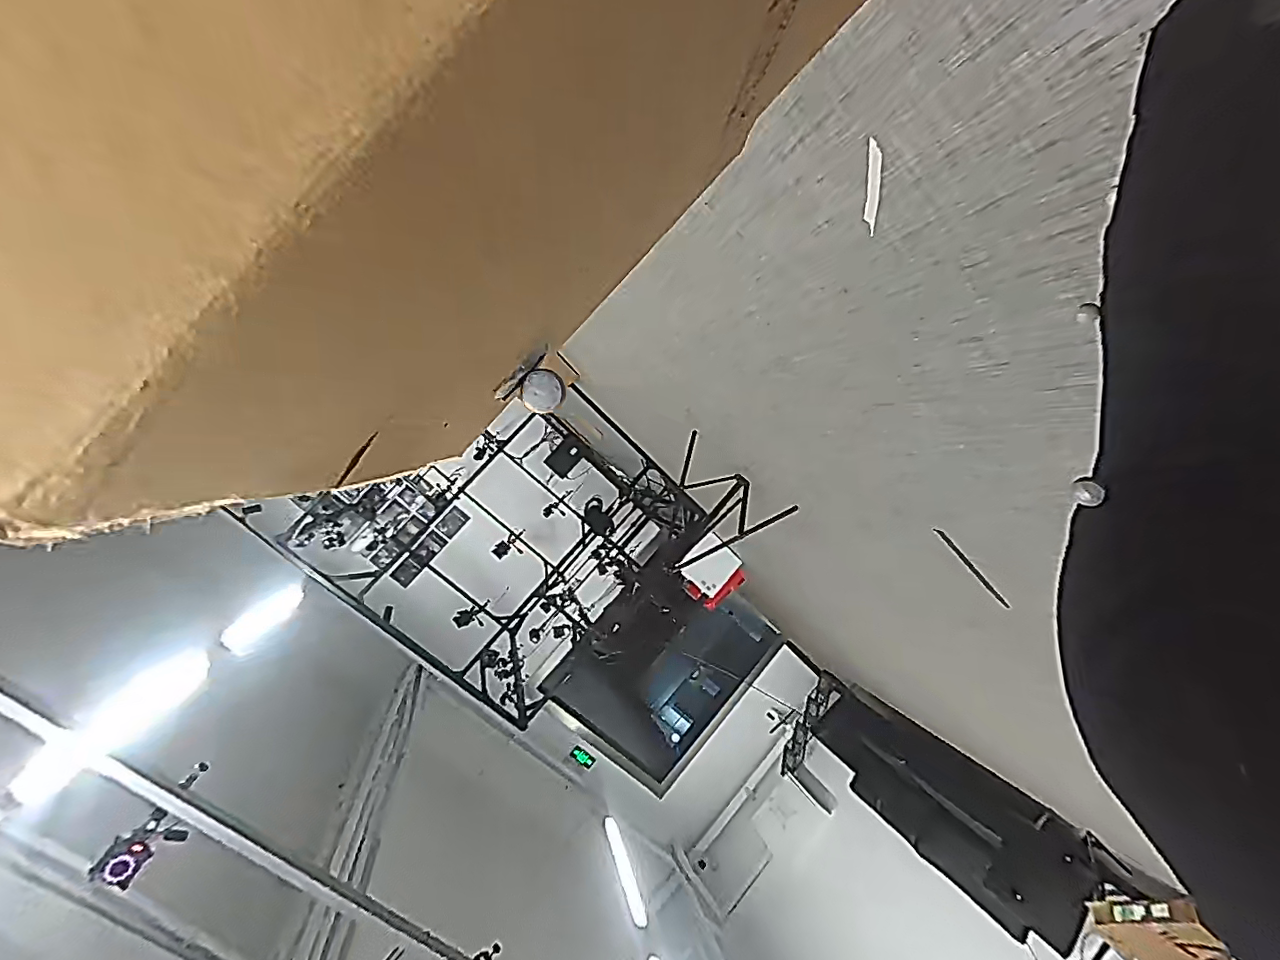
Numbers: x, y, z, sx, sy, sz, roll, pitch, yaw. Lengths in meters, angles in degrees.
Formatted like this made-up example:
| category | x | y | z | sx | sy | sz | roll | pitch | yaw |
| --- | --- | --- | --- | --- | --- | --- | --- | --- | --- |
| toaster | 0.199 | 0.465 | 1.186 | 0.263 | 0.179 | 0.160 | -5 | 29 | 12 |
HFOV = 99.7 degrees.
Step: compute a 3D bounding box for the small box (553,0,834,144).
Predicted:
| category | x | y | z | sx | sy | sz | roll | pitch | yaw |
| --- | --- | --- | --- | --- | --- | --- | --- | --- | --- |
| small box | 0.026 | -0.237 | 0.118 | 0.179 | 0.176 | 0.168 | 43 | -179 | -6 |
